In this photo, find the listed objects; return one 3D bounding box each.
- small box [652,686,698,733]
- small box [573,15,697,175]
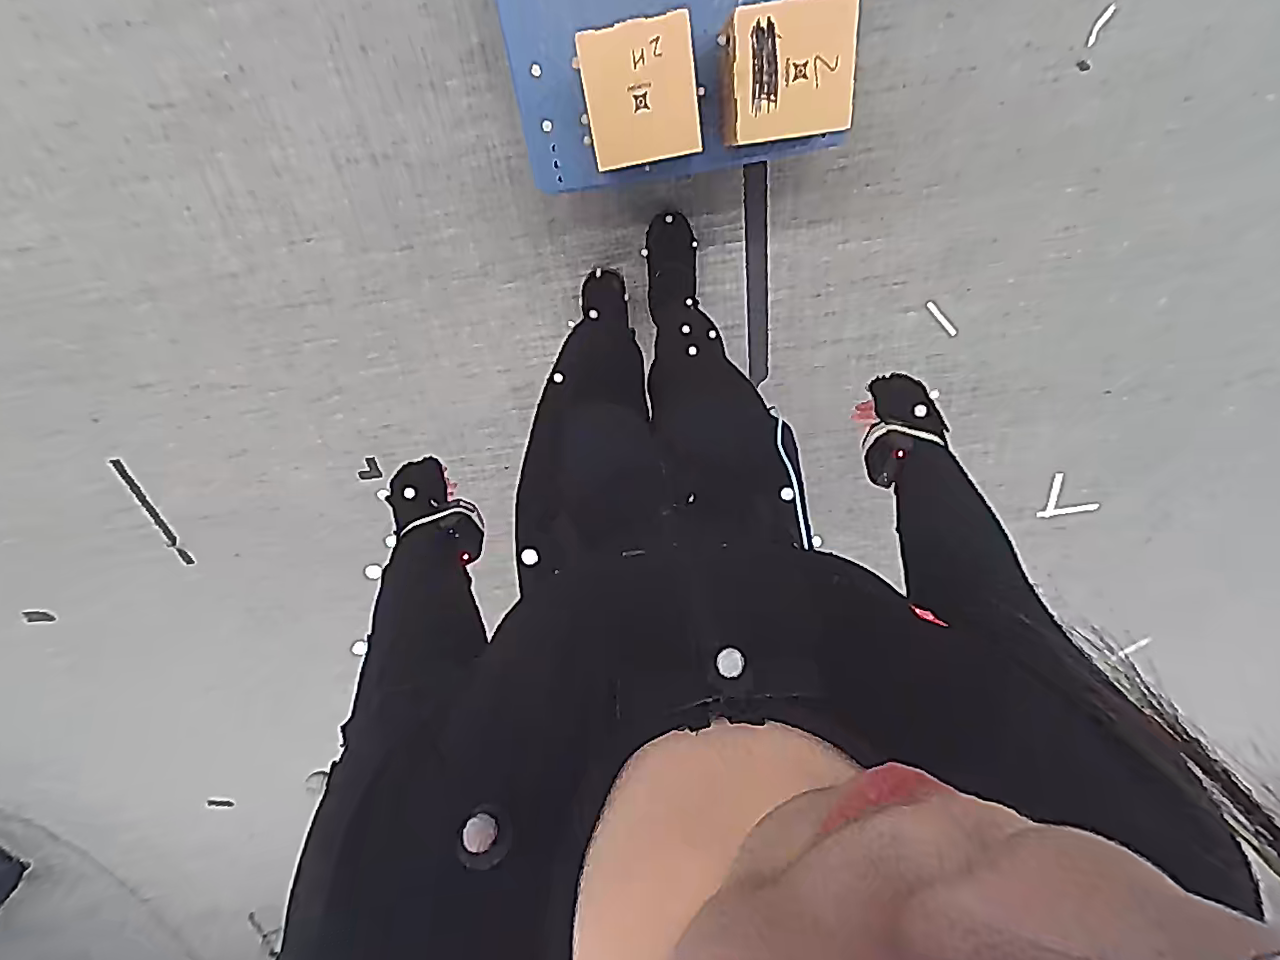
[{"bbox_3d":[0.138,0.919,2.076,0.168,0.176,0.179,-7,122,4],"label":"small box"},{"bbox_3d":[-0.001,-0.608,0.869,0.168,0.176,0.179,-8,121,5],"label":"small box"}]
